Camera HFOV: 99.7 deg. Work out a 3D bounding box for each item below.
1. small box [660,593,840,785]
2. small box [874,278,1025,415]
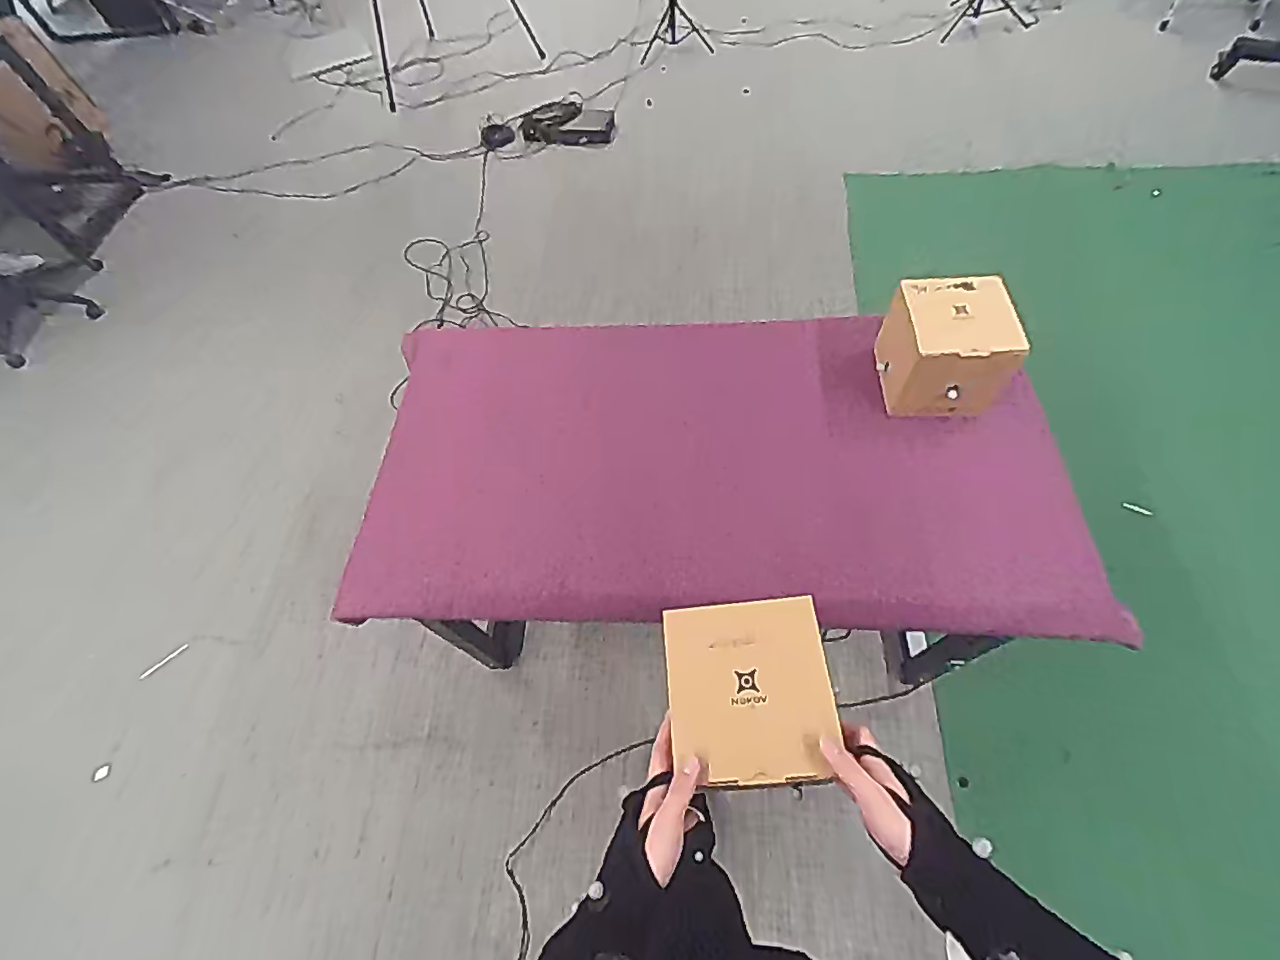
[{"bbox_3d":[0.120,0.247,0.619,0.168,0.176,0.179,-7,57,8],"label":"small box"},{"bbox_3d":[0.530,-0.228,0.954,0.168,0.176,0.179,0,60,7],"label":"small box"}]
